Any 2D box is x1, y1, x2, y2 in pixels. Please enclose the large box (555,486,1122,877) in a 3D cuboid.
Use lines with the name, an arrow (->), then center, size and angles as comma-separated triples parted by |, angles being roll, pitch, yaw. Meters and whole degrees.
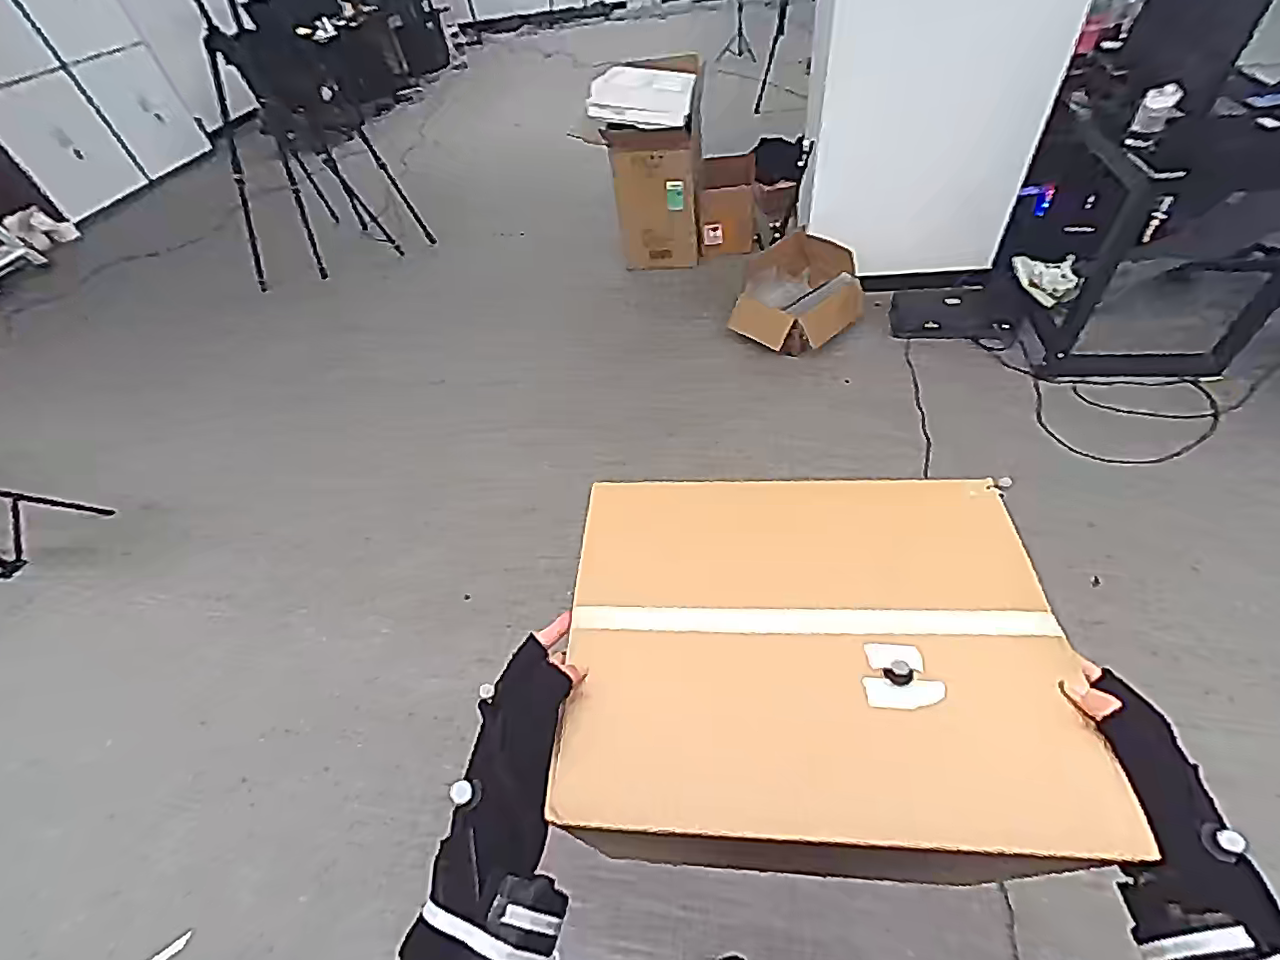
large box -> 0.150, 0.224, 0.590 | 0.408, 0.320, 0.320 | -1, 51, 6
